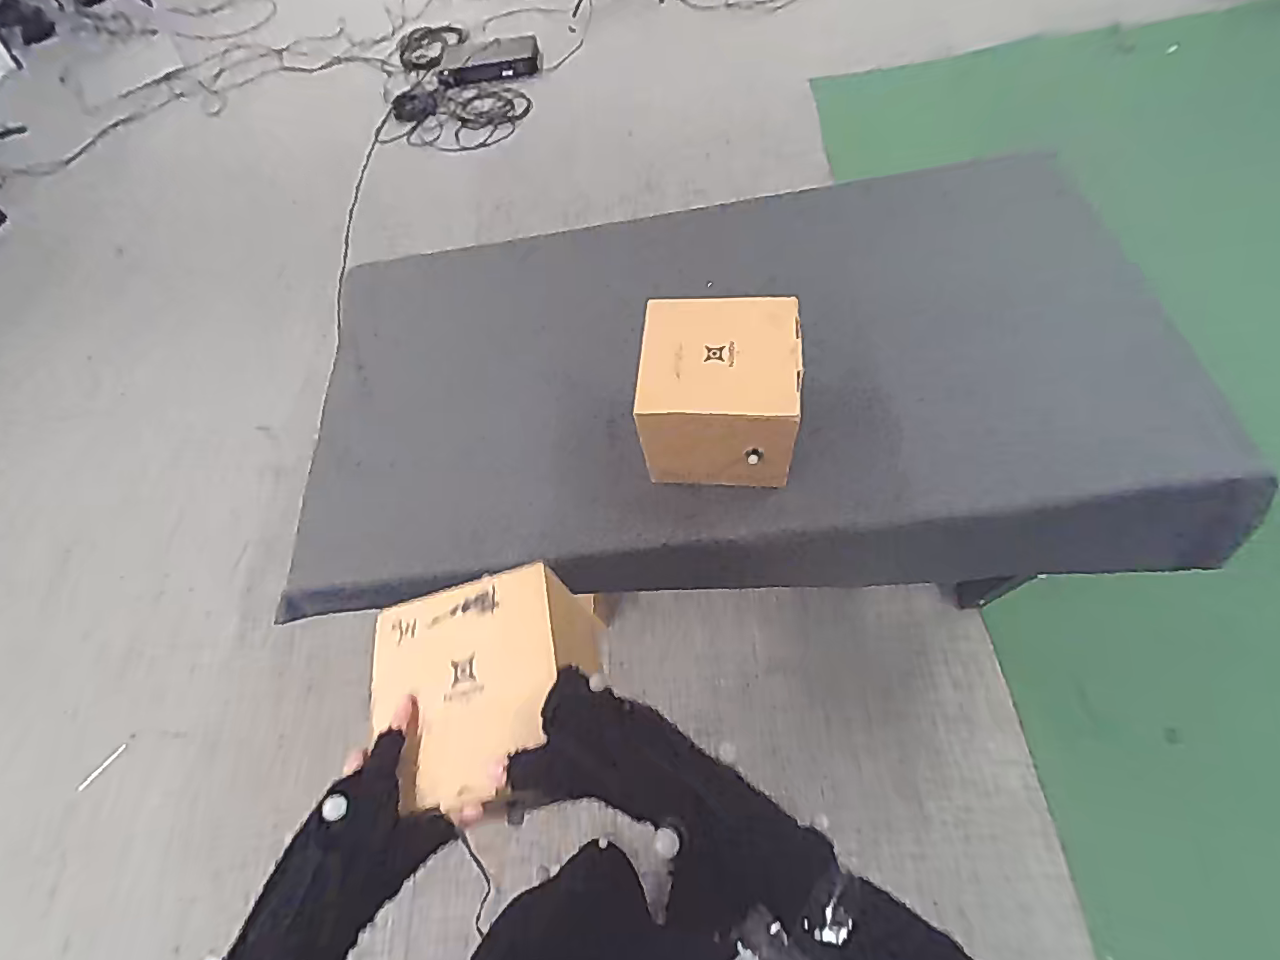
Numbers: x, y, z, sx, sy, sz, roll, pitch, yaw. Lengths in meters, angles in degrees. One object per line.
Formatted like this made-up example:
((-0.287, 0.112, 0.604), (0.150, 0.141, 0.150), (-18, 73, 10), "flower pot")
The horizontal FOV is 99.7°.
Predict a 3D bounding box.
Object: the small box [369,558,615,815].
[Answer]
((-0.131, 0.203, 0.522), (0.168, 0.176, 0.179), (-16, 57, 3), "small box")

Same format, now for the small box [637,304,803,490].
((0.102, -0.096, 0.674), (0.179, 0.176, 0.168), (2, 63, 10), "small box")
